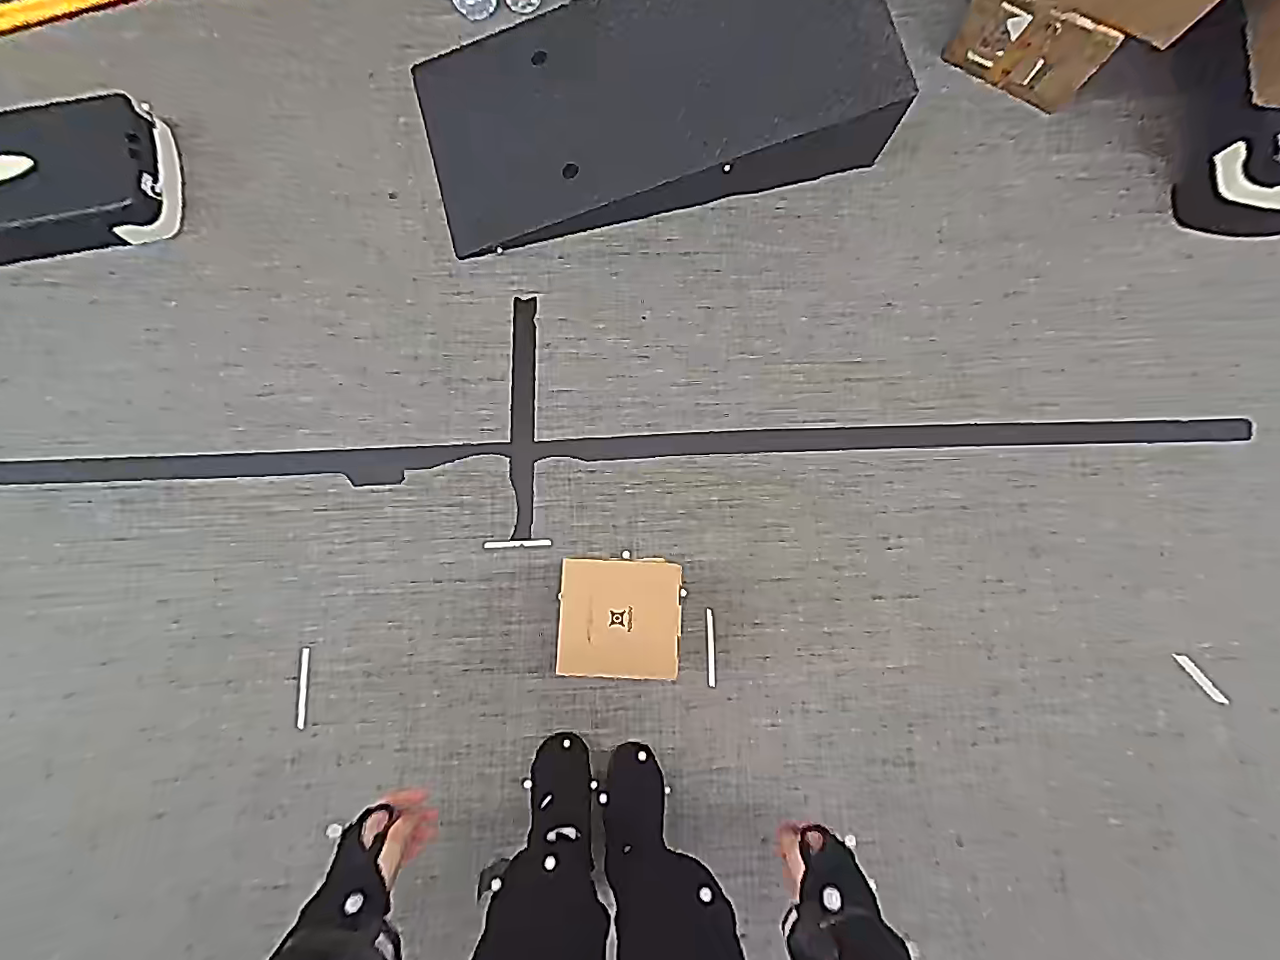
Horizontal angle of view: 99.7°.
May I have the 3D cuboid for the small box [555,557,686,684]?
[{"bbox_3d":[-0.029,0.208,0.838,0.179,0.176,0.168,4,81,-1],"label":"small box"}]
